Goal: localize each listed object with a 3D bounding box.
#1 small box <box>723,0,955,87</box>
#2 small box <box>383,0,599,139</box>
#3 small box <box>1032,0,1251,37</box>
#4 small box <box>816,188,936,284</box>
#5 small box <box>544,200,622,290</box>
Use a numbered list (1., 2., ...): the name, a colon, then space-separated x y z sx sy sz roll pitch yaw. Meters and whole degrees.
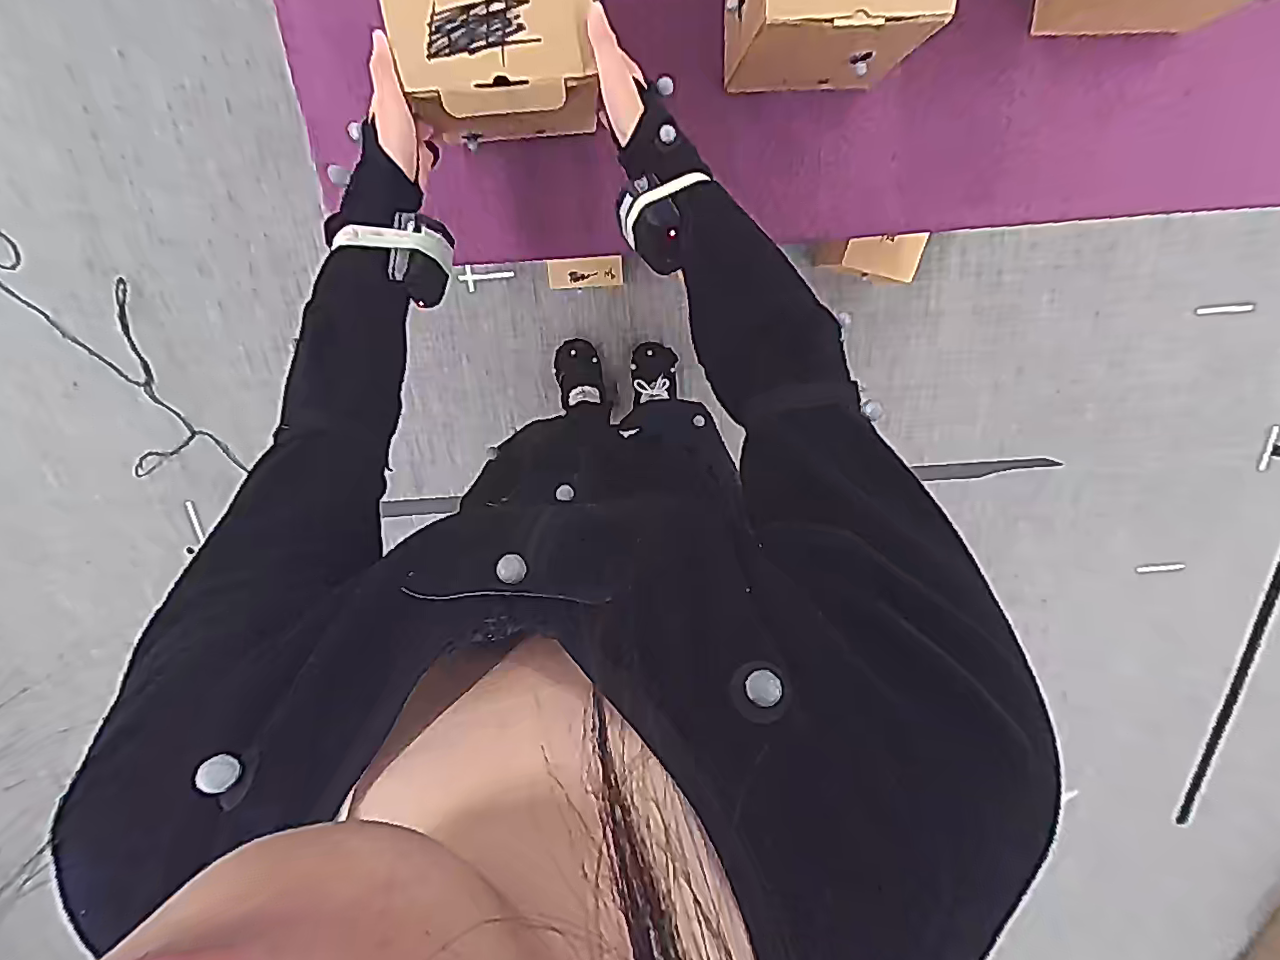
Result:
1. small box: 0.176 -0.491 0.502 0.168 0.176 0.179 -4 108 -3
2. small box: -0.127 -0.426 0.487 0.168 0.176 0.179 -7 110 -4
3. small box: 0.521 -0.544 0.501 0.179 0.176 0.168 -3 110 -2
4. small box: 0.545 -0.570 1.275 0.179 0.176 0.168 12 110 -6
5. small box: -0.128 -0.535 1.247 0.168 0.176 0.179 -3 109 -3
